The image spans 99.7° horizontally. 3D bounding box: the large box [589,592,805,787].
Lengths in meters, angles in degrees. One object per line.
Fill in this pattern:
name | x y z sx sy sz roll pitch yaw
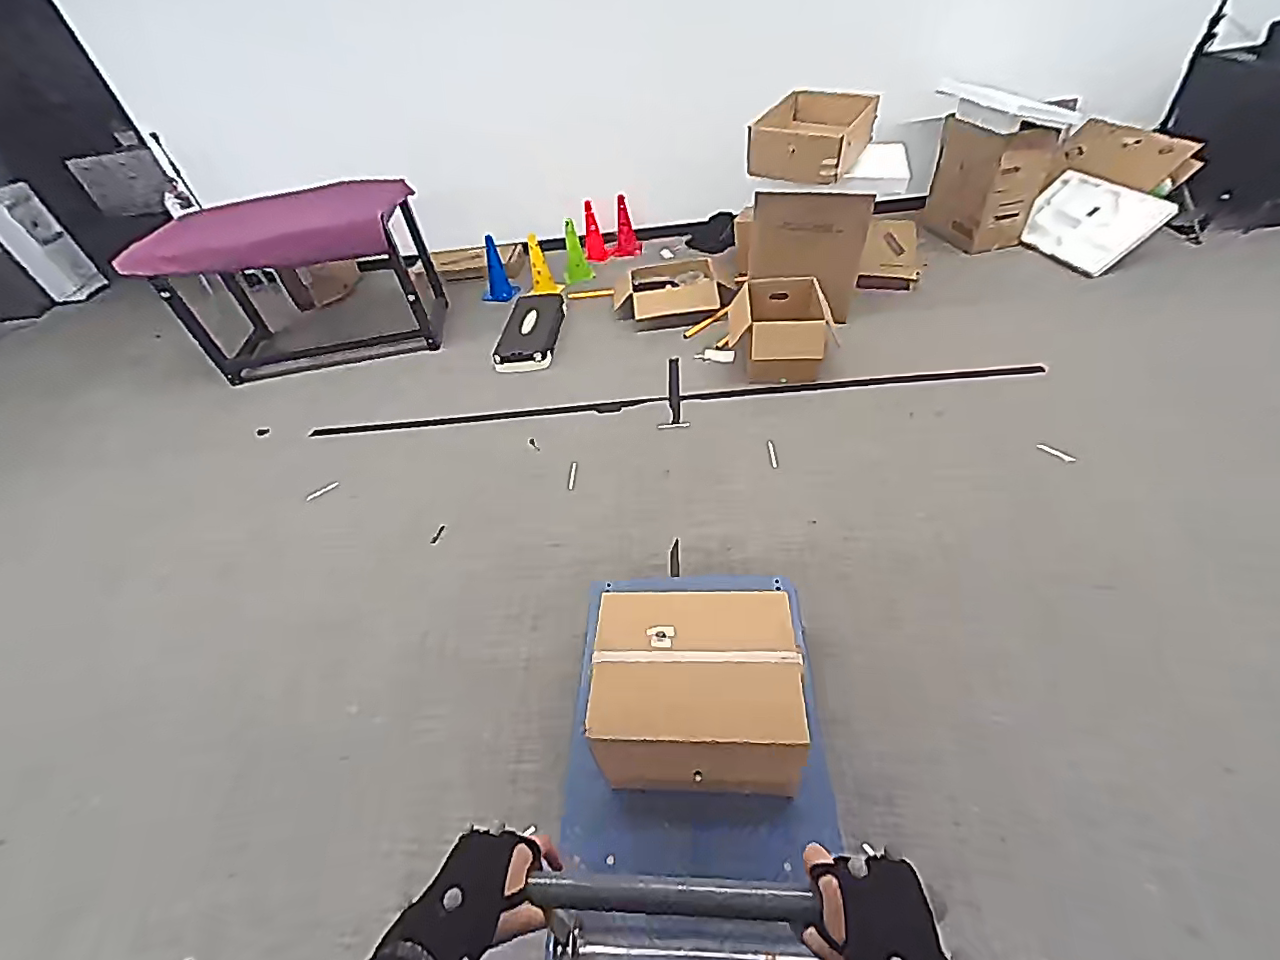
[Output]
large box | 0.127 0.469 1.195 0.408 0.320 0.320 -3 44 7
